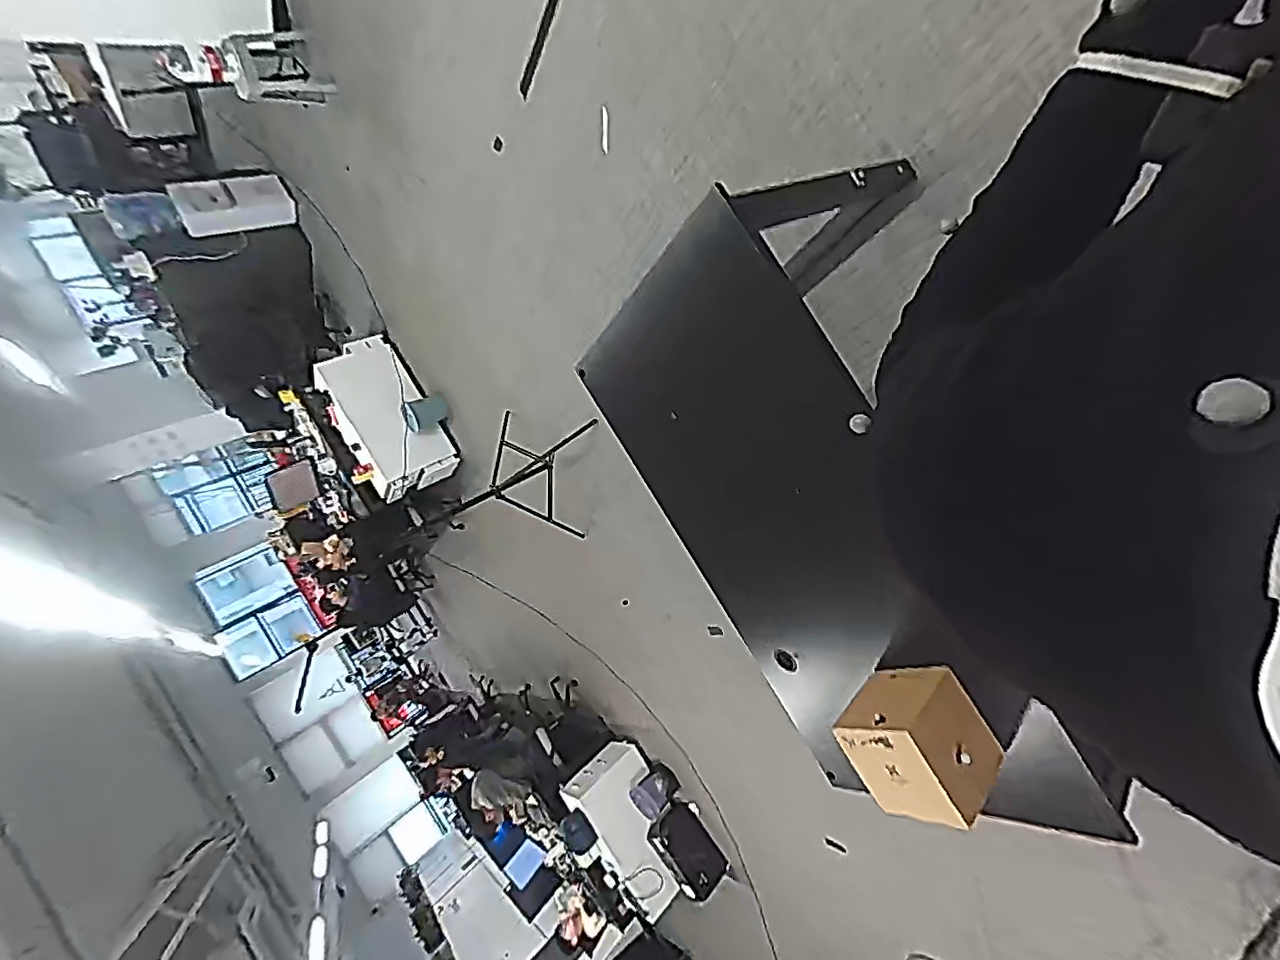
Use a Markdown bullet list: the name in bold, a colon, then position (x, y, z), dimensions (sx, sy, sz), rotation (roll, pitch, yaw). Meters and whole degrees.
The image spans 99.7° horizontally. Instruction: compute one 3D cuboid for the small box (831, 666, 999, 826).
- **small box**: position (0.482, 0.452, 0.945), dimensions (0.179, 0.176, 0.168), rotation (57, 146, 3)
